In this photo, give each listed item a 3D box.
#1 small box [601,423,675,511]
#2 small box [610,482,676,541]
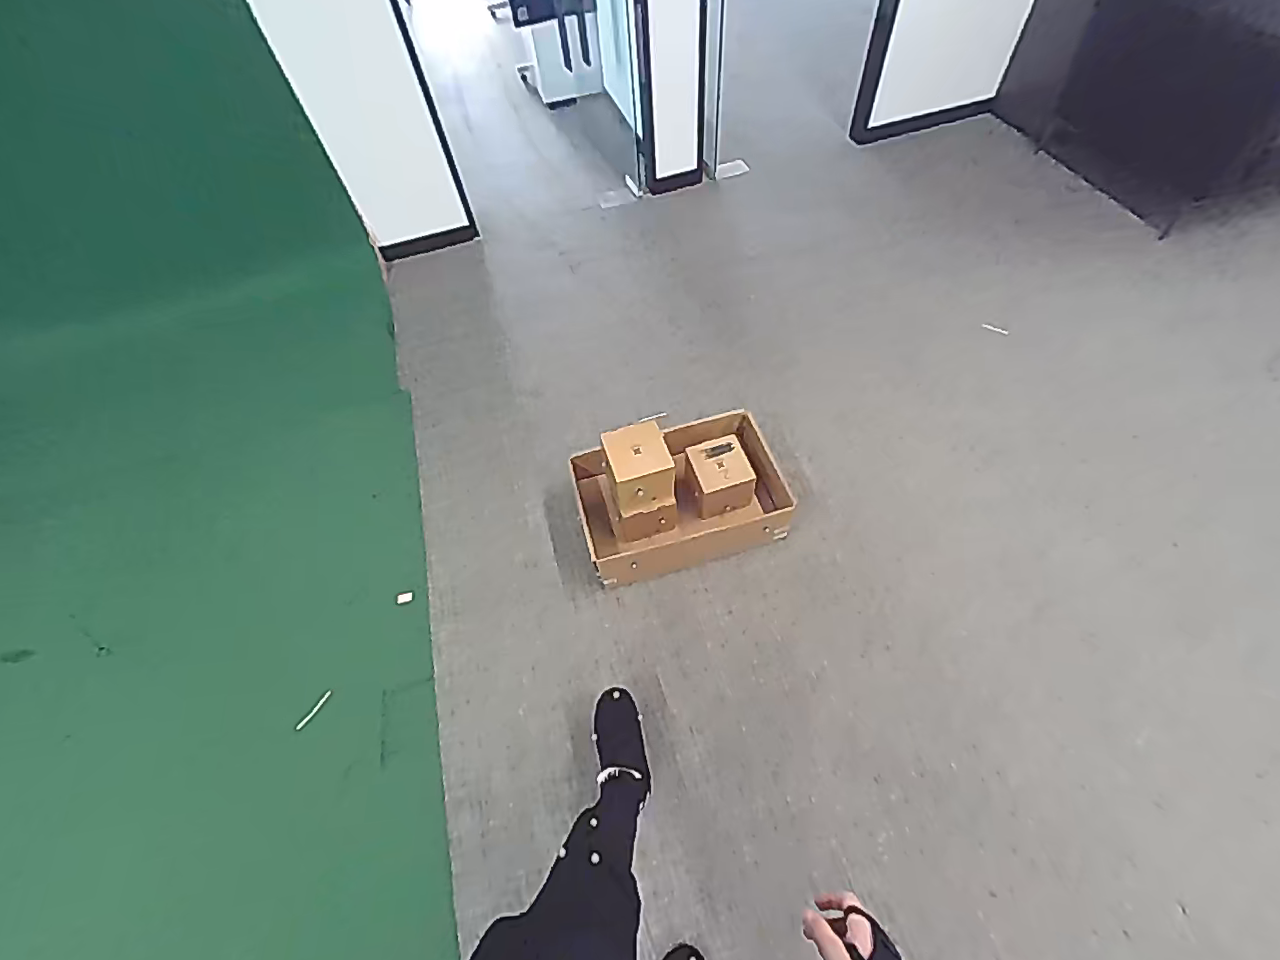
[{"bbox_3d":[-0.003,-0.030,1.543,0.168,0.176,0.179,-16,56,-8],"label":"small box"},{"bbox_3d":[0.010,0.071,1.670,0.168,0.176,0.179,-15,56,-8],"label":"small box"}]
